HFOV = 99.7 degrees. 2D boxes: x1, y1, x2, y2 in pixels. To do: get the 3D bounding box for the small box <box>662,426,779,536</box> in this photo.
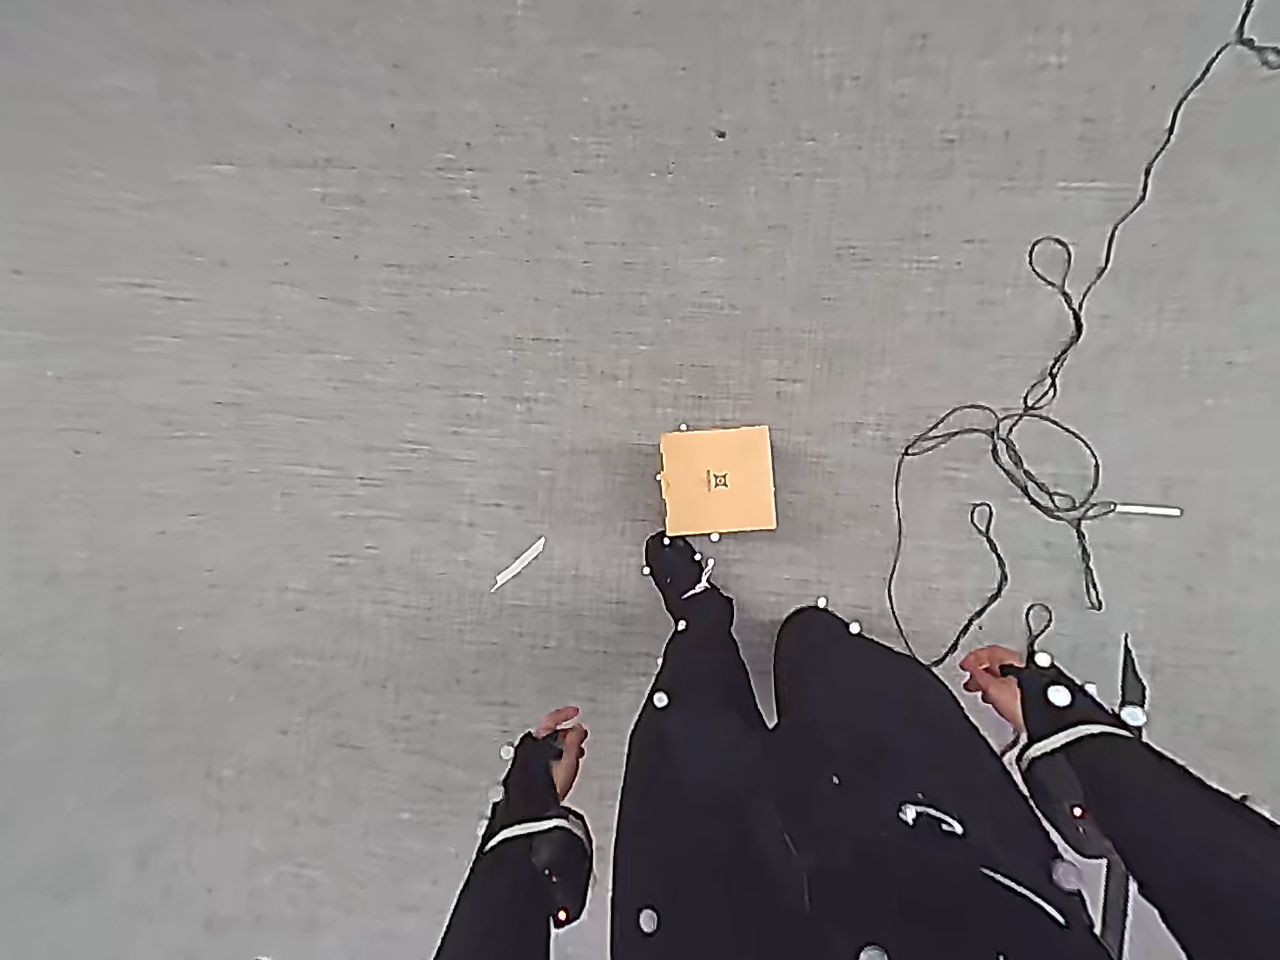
[{"bbox_3d":[0.130,0.001,0.926,0.179,0.176,0.168,-5,90,4],"label":"small box"}]
